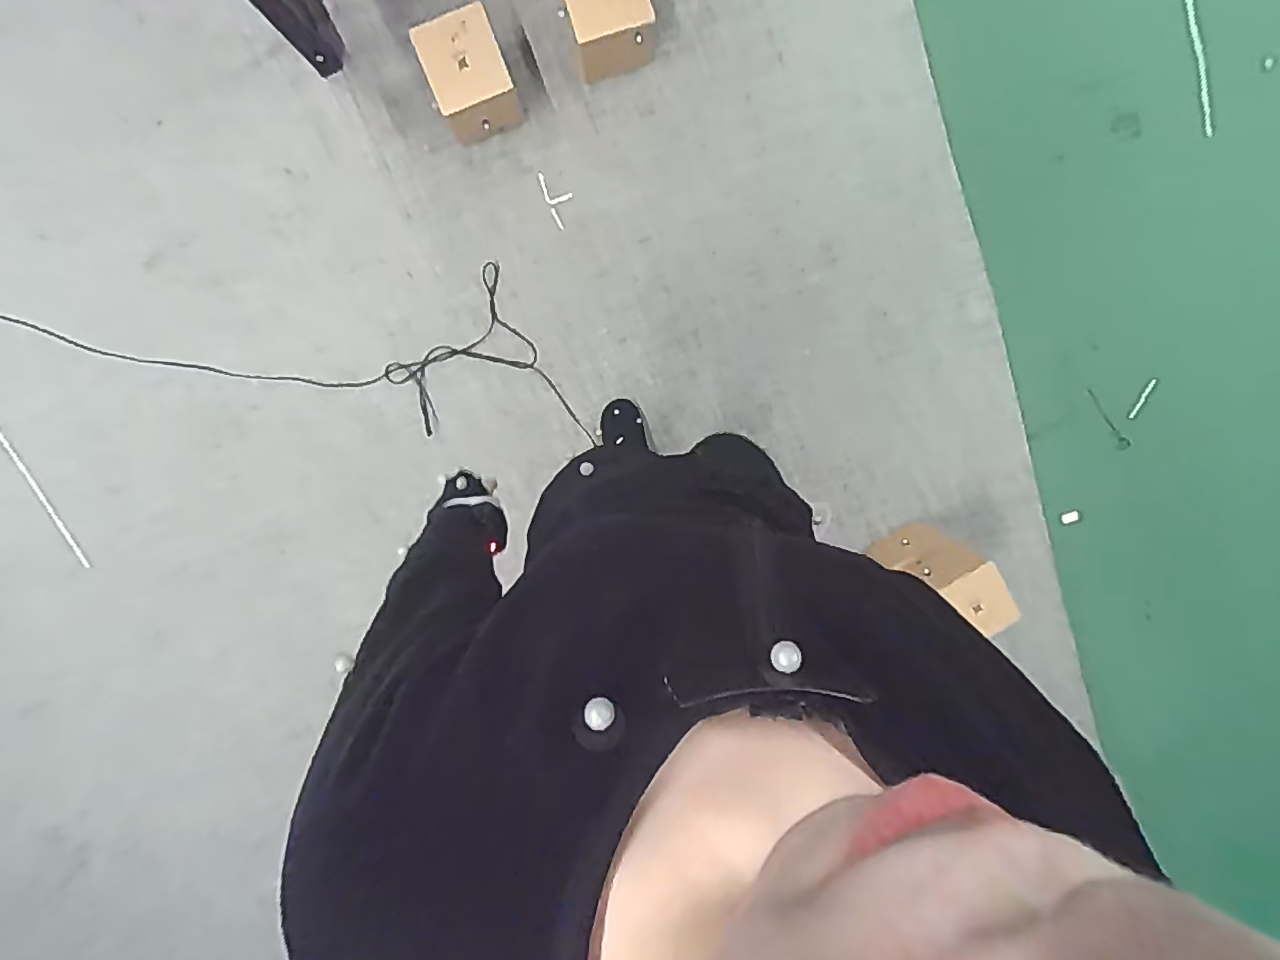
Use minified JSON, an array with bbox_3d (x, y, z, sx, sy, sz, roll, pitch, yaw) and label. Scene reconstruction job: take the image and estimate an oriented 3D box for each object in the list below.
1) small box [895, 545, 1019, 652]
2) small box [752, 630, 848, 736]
[{"bbox_3d":[0.766,0.278,1.326,0.168,0.176,0.179,-32,101,4],"label":"small box"},{"bbox_3d":[0.388,0.498,1.346,0.179,0.176,0.168,-14,101,-1],"label":"small box"}]
